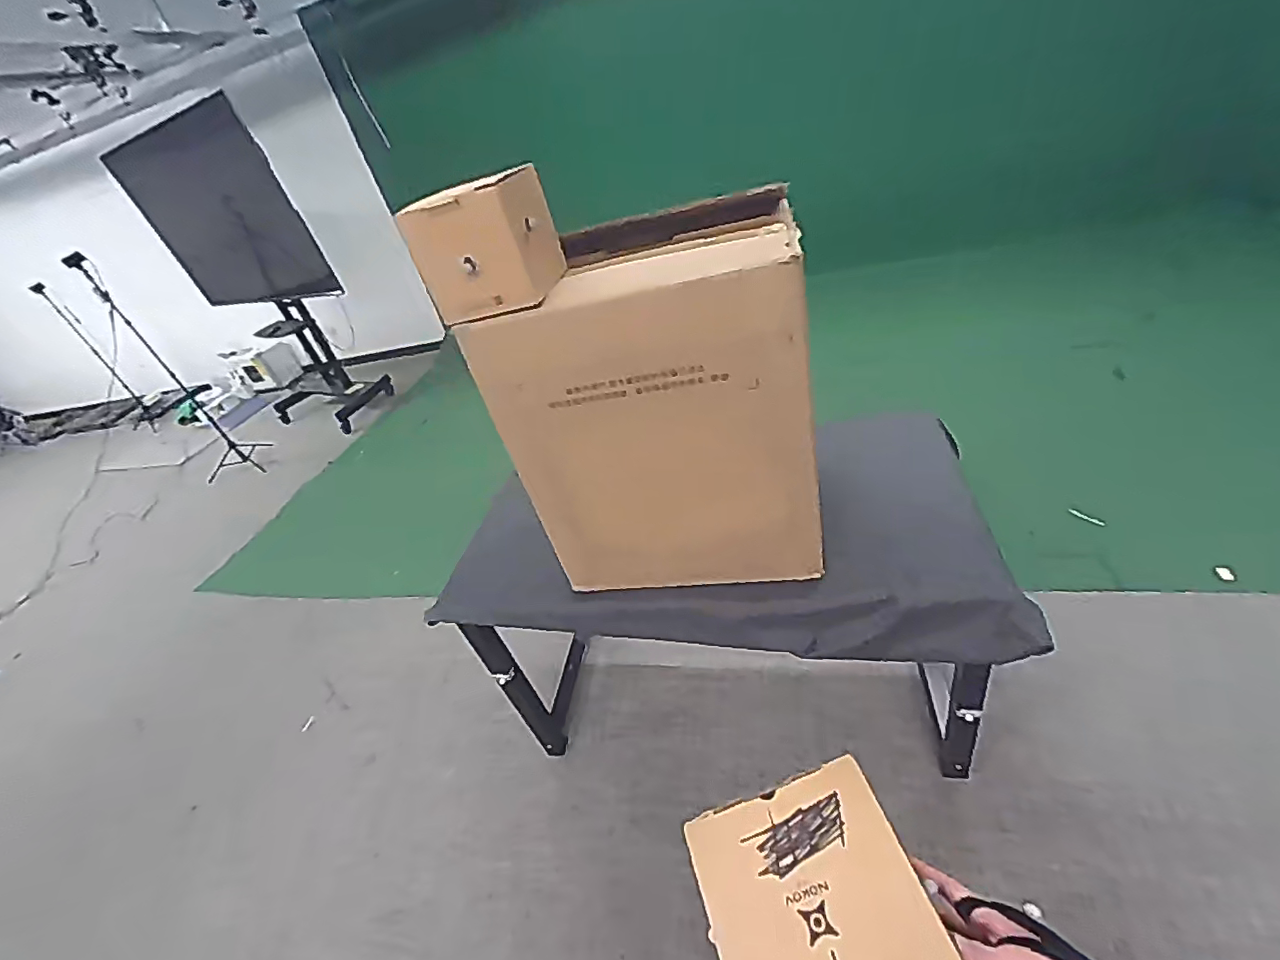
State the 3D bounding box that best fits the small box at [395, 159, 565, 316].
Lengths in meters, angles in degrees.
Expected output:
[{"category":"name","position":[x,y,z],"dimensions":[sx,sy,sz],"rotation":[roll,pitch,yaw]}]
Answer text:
[{"category":"small box","position":[-0.234,-0.370,0.845],"dimensions":[0.168,0.176,0.179],"rotation":[-7,38,17]}]
